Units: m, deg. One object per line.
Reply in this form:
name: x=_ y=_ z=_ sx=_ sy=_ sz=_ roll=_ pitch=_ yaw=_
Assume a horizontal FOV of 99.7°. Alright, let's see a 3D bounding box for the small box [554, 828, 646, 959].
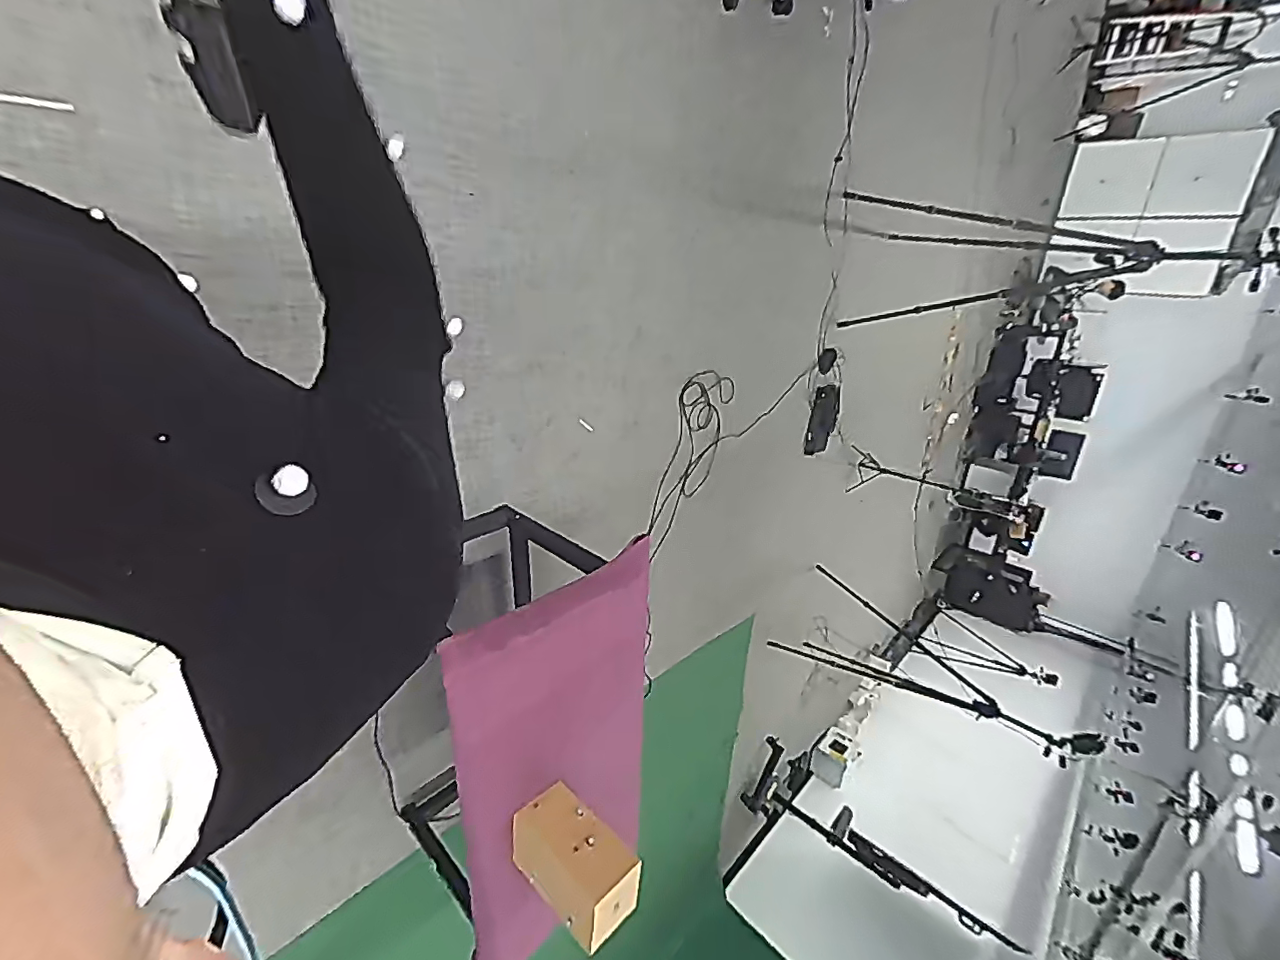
small box: x=-0.106 y=1.053 z=1.389 sx=0.168 sy=0.176 sz=0.179 roll=-14 pitch=116 yaw=-45
